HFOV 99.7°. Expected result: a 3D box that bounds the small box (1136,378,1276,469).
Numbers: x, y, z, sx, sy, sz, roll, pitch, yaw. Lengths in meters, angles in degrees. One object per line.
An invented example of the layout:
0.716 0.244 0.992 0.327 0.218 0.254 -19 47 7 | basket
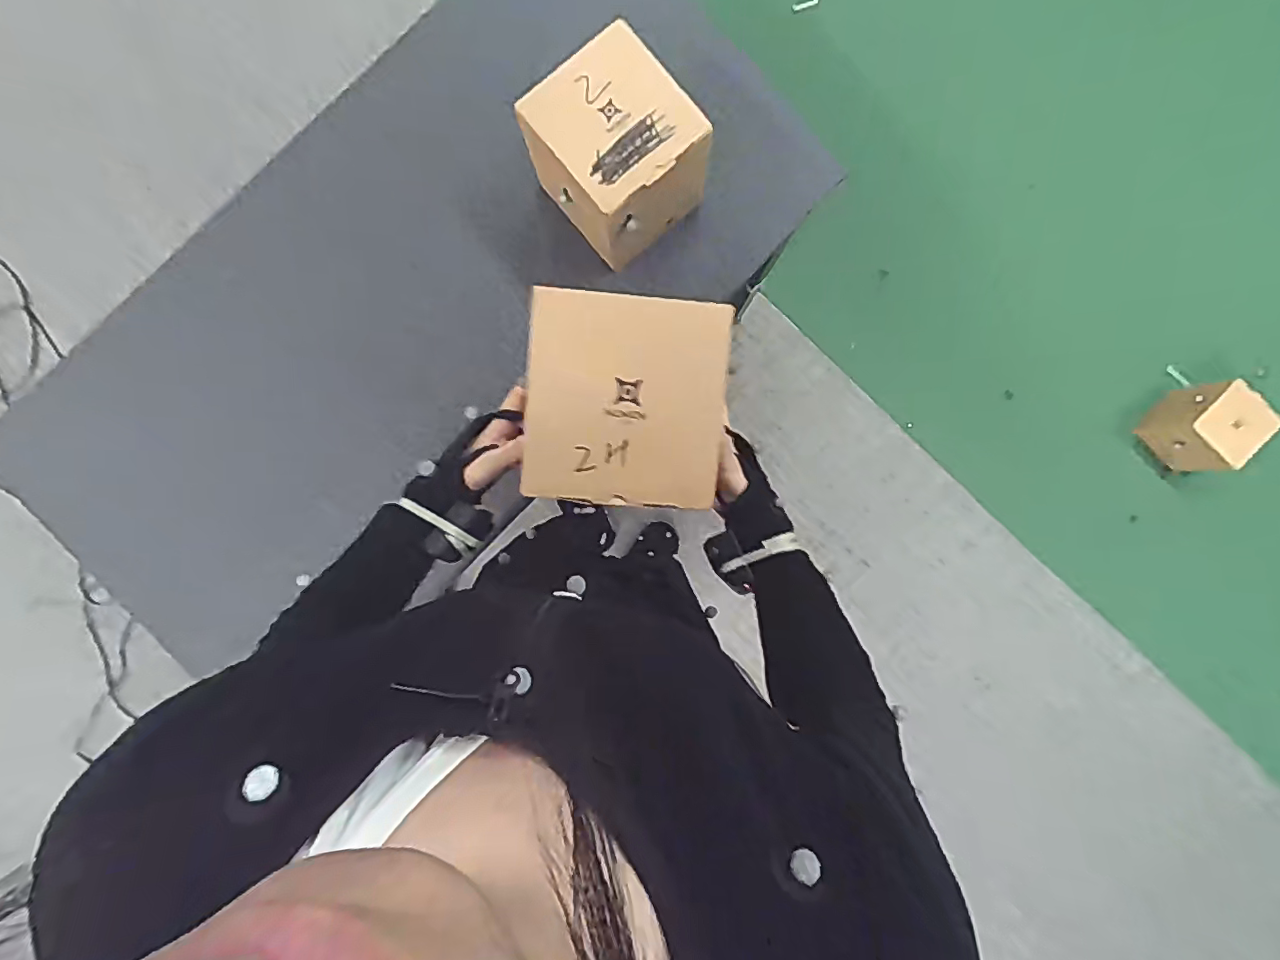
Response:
1.512 -0.142 1.461 0.168 0.176 0.179 44 88 0 | small box
